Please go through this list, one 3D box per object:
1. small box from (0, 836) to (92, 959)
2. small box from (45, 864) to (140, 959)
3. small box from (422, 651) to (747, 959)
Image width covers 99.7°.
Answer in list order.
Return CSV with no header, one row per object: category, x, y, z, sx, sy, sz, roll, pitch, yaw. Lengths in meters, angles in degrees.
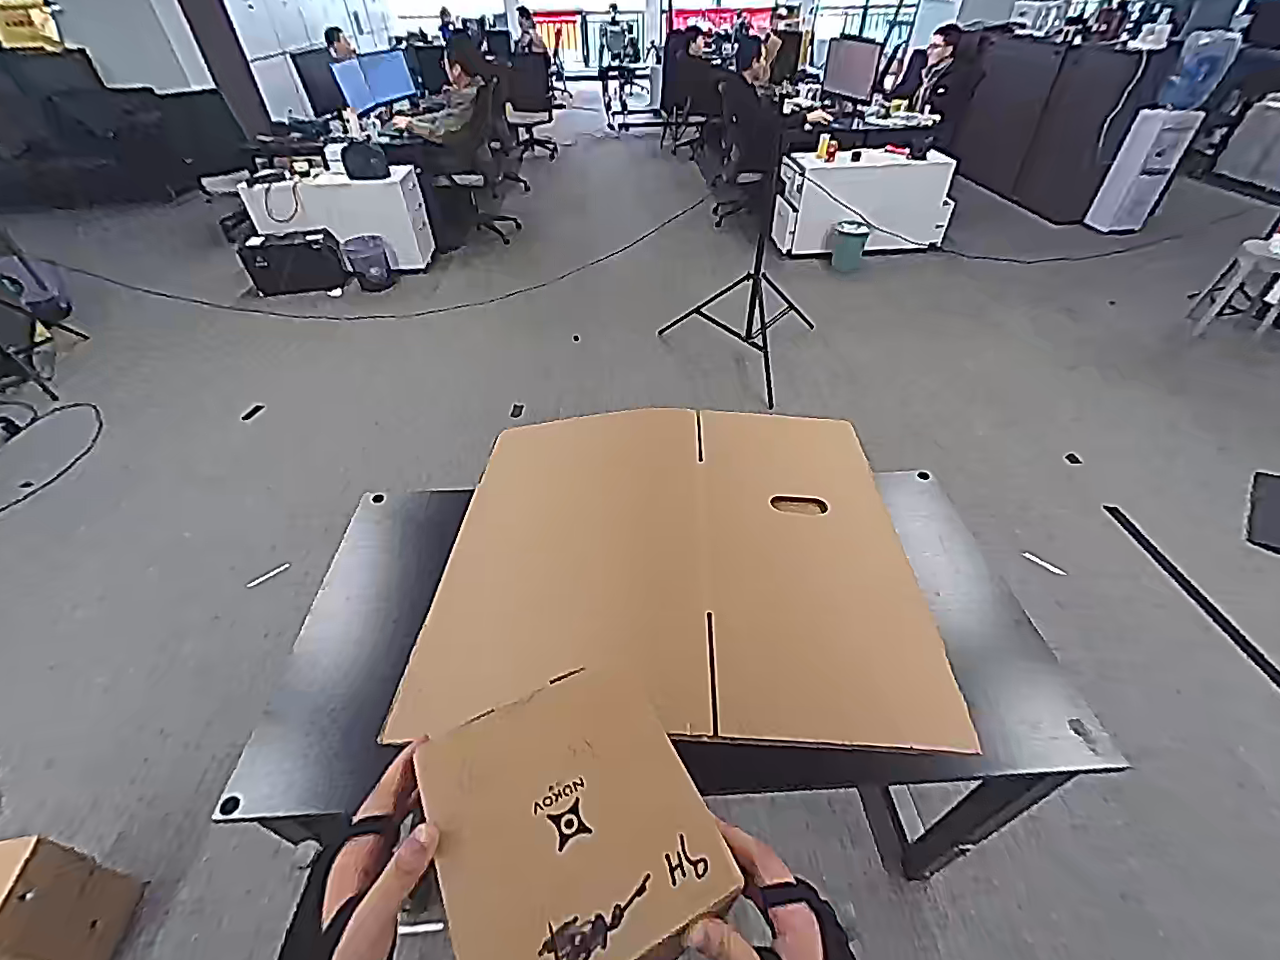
small box,-1.213,0.809,1.019,0.168,0.176,0.179,-7,42,-7
small box,-1.208,0.932,1.124,0.168,0.176,0.179,-5,43,-4
small box,-0.045,0.272,0.407,0.168,0.176,0.179,-20,46,-20
